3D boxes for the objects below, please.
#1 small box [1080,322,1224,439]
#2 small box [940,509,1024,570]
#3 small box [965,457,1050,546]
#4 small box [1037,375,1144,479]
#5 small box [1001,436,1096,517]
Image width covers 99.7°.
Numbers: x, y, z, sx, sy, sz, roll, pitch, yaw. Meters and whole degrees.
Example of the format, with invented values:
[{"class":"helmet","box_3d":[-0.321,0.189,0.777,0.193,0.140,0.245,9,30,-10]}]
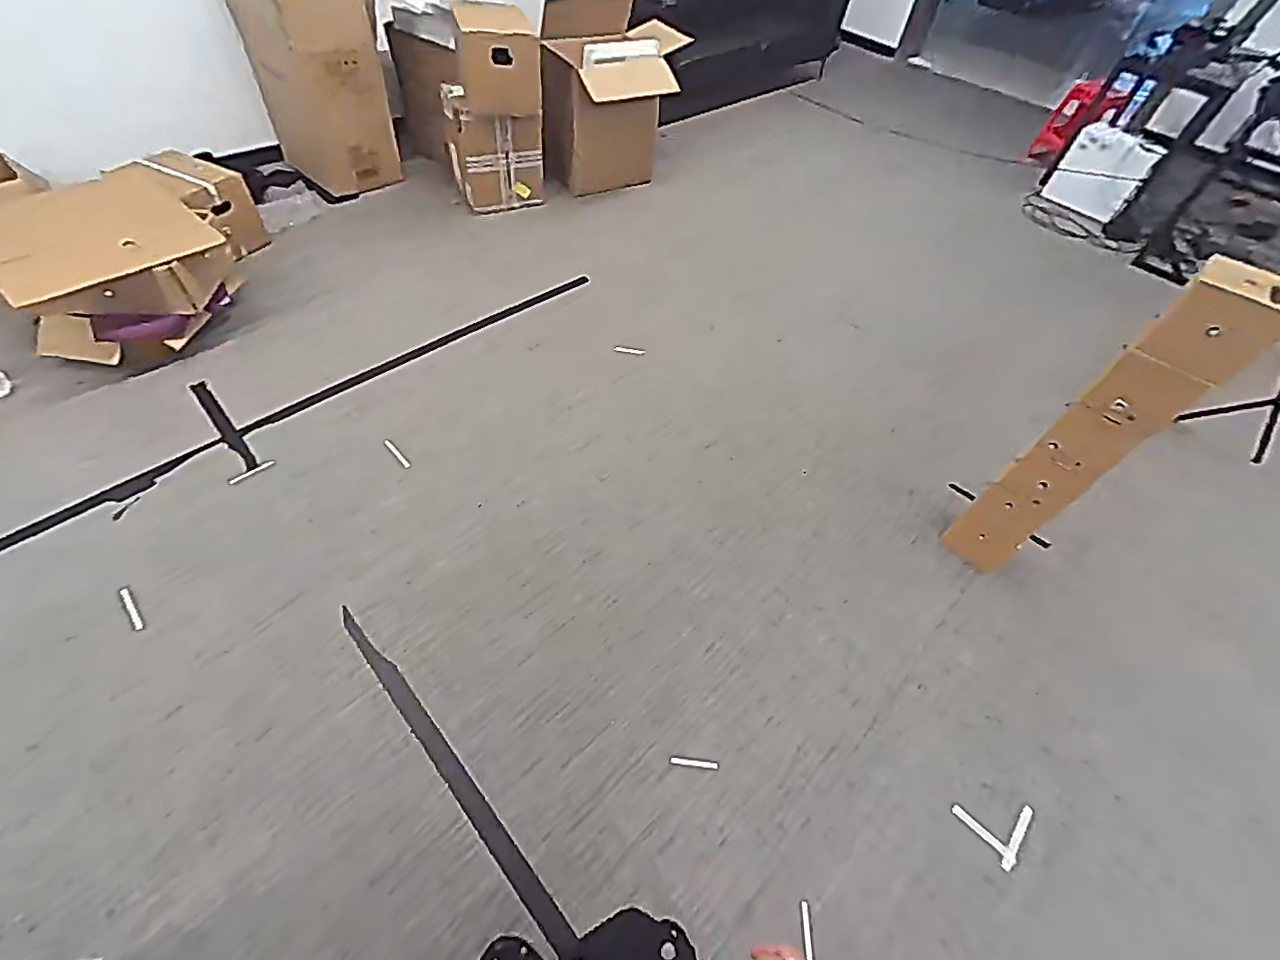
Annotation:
[{"class":"small box","box_3d":[1.187,-0.232,1.264,0.168,0.176,0.179,39,59,24]},{"class":"small box","box_3d":[1.135,0.172,1.775,0.168,0.176,0.179,-36,63,-28]},{"class":"small box","box_3d":[1.140,0.068,1.648,0.168,0.176,0.179,-34,62,-27]},{"class":"small box","box_3d":[1.172,-0.133,1.391,0.179,0.176,0.168,-35,62,-29]},{"class":"small box","box_3d":[1.161,-0.029,1.518,0.179,0.176,0.168,-35,62,-27]}]
